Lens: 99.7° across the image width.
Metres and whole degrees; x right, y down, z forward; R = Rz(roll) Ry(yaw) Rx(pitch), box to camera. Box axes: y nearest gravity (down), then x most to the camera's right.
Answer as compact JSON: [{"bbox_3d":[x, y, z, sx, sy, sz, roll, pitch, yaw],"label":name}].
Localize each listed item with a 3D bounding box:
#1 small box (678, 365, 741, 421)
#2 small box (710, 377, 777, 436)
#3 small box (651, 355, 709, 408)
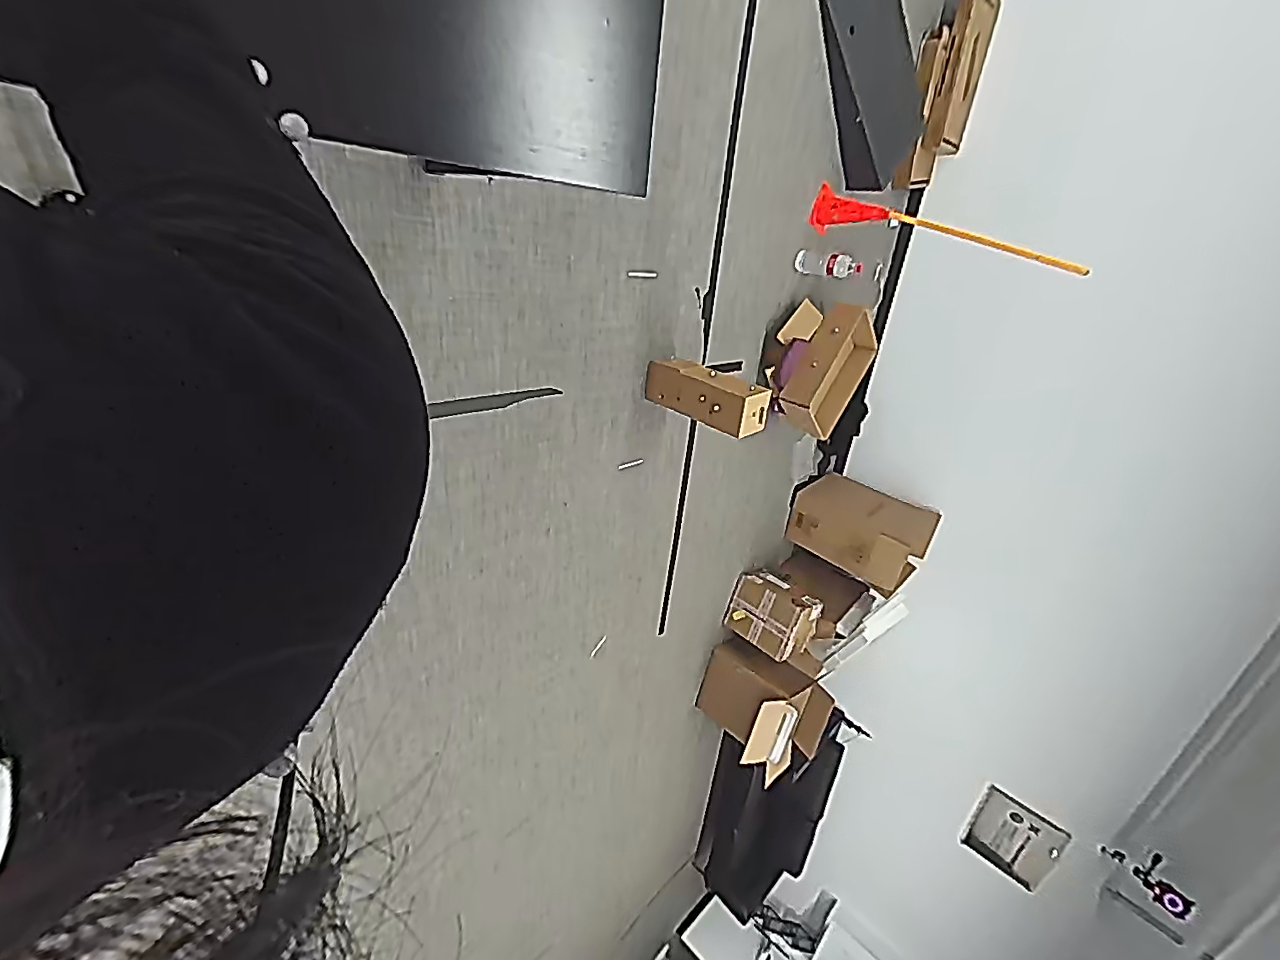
[{"bbox_3d":[0.279,-0.355,2.174,0.179,0.176,0.168,-22,128,-42],"label":"small box"},{"bbox_3d":[0.395,-0.290,2.077,0.179,0.176,0.168,-21,127,-40],"label":"small box"},{"bbox_3d":[0.165,-0.418,2.273,0.168,0.176,0.179,-20,125,-42],"label":"small box"}]
